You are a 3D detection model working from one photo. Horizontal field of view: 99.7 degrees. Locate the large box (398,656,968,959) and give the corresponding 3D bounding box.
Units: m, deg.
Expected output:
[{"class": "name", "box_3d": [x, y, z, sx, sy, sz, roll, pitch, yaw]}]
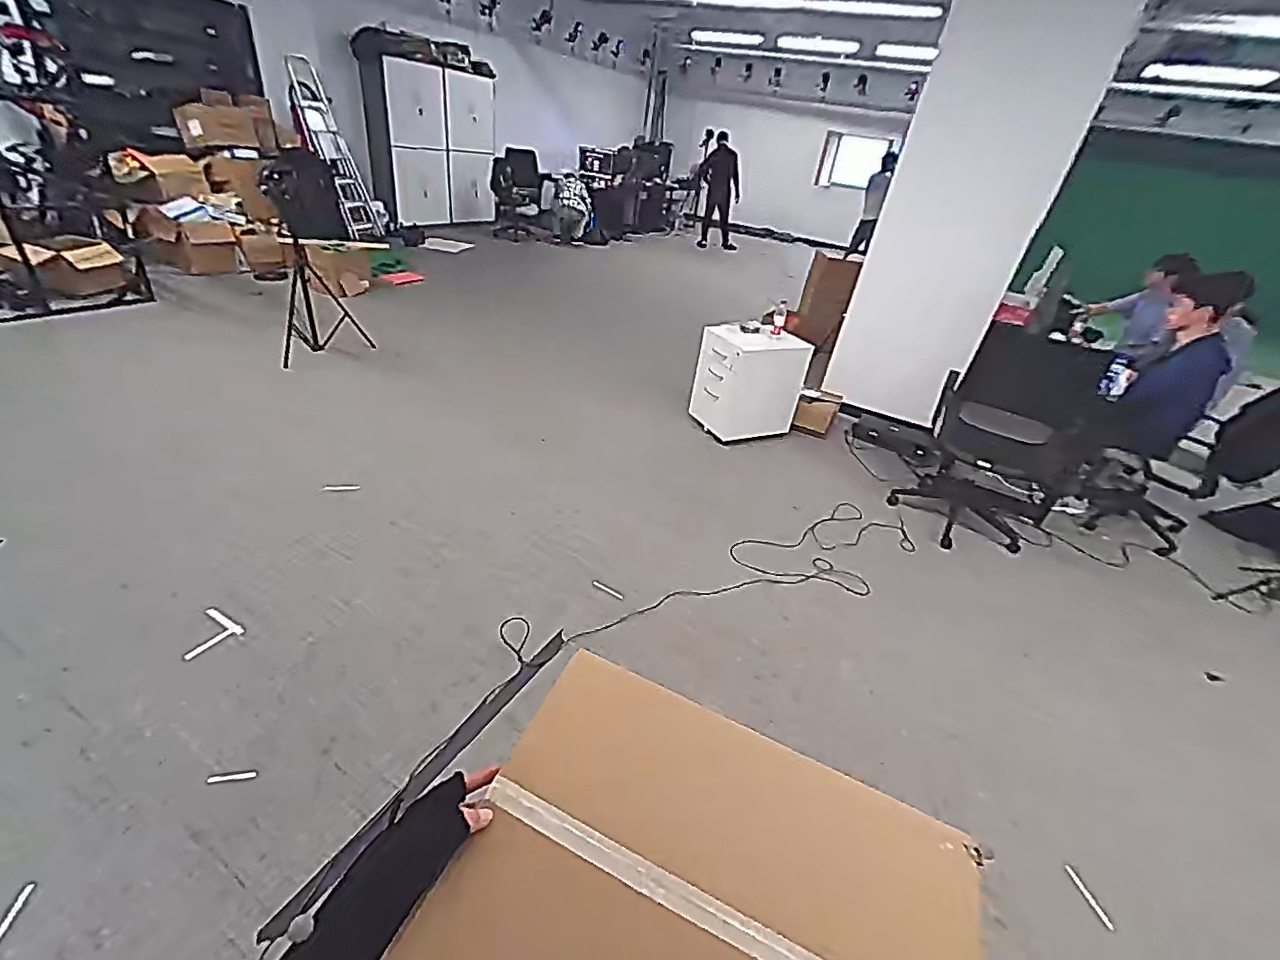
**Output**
[{"class": "large box", "box_3d": [0.038, 0.454, 0.533, 0.408, 0.320, 0.320, 21, 43, 15]}]
